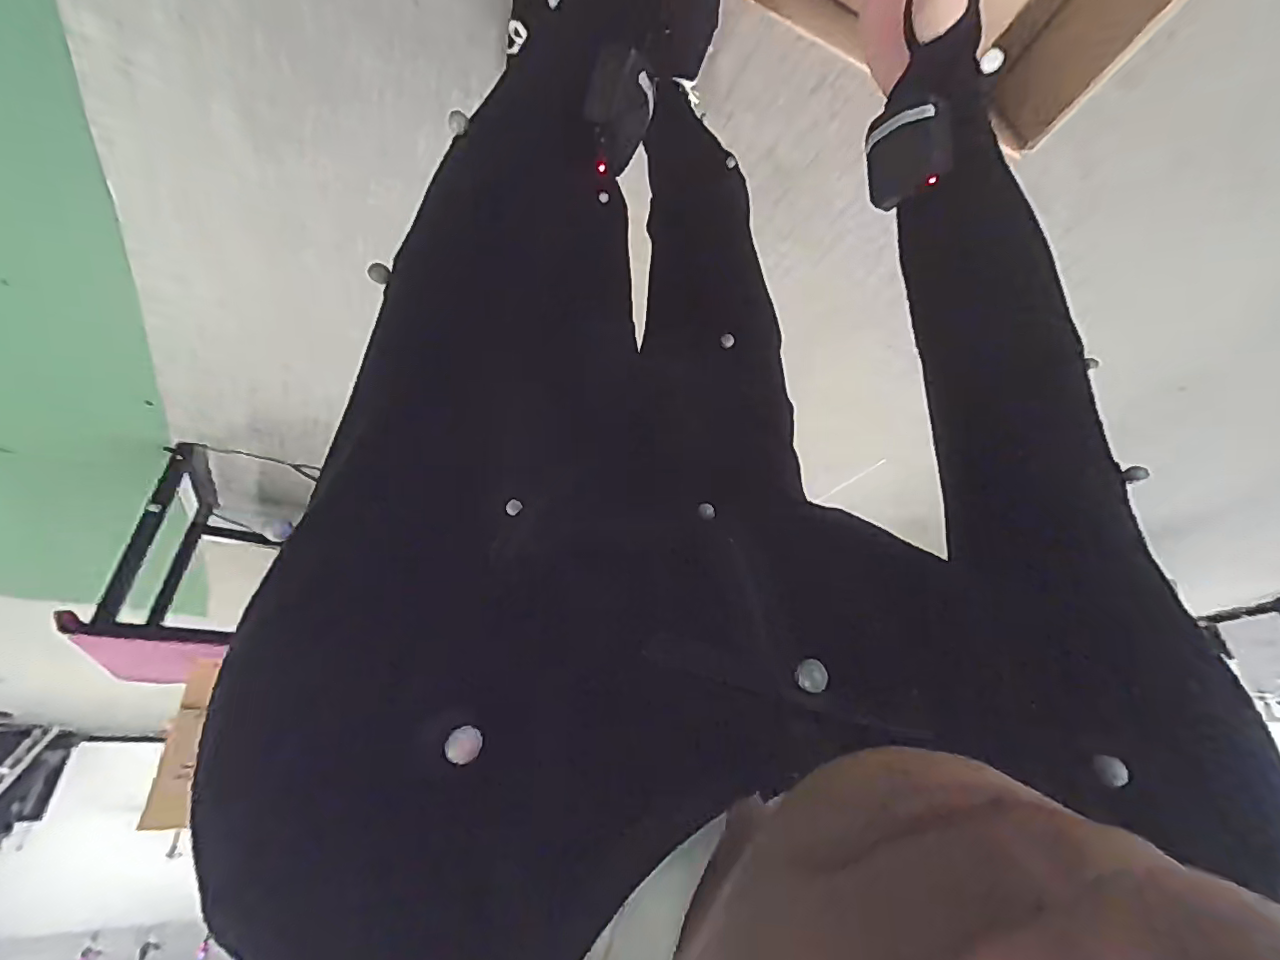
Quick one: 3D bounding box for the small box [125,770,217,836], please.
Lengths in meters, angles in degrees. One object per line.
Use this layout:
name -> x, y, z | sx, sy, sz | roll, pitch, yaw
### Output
small box -> -1.429, 0.986, 1.663 | 0.168, 0.176, 0.179 | 15, 146, -28

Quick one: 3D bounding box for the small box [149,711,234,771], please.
small box -> -1.433, 0.842, 1.739 | 0.168, 0.176, 0.179 | 15, 147, -26
